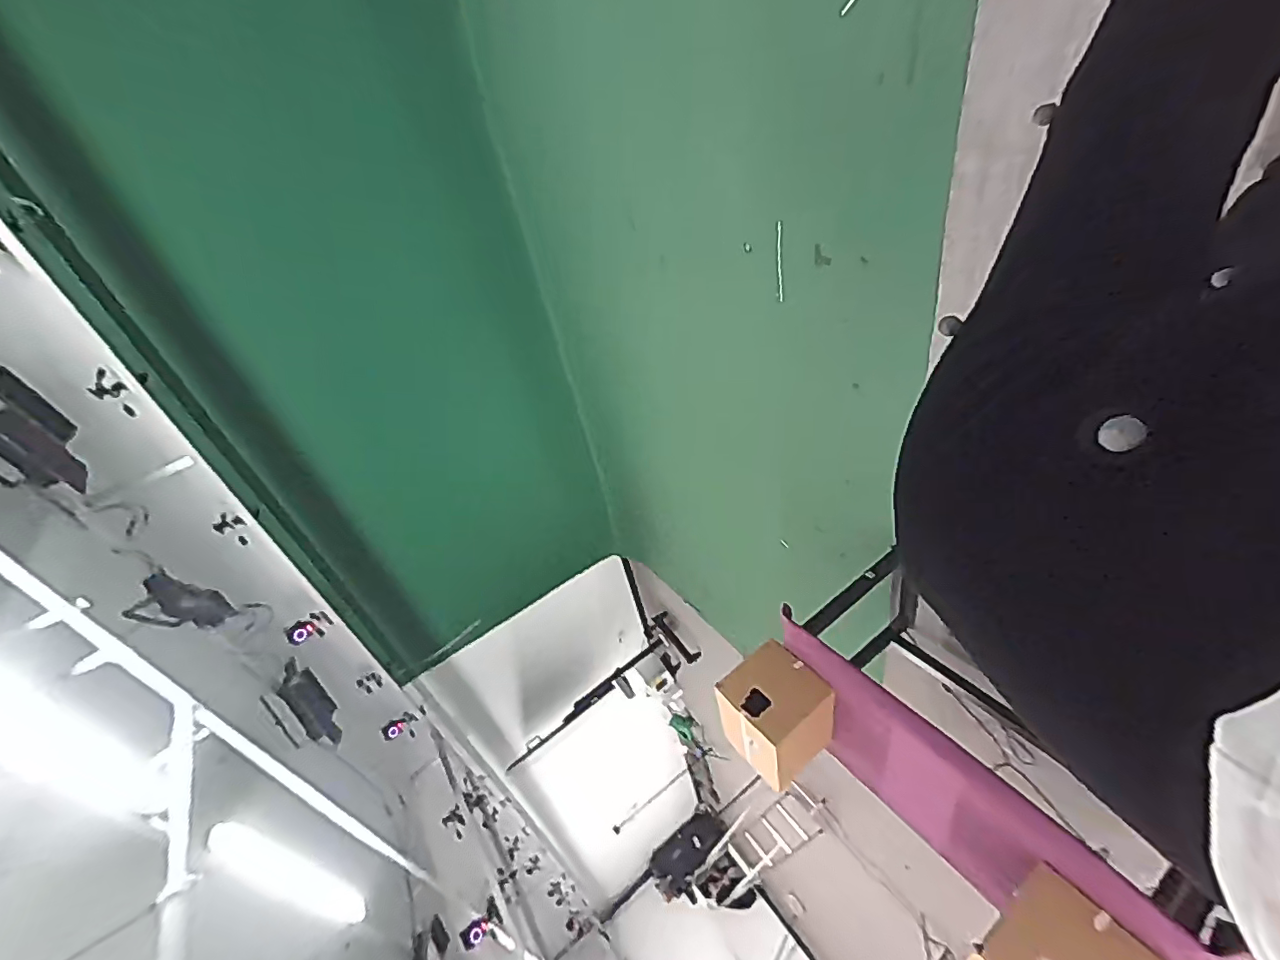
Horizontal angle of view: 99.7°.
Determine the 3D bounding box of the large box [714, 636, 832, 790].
[{"bbox_3d":[0.522,0.898,2.104,0.320,0.320,0.408,35,148,44],"label":"large box"}]
